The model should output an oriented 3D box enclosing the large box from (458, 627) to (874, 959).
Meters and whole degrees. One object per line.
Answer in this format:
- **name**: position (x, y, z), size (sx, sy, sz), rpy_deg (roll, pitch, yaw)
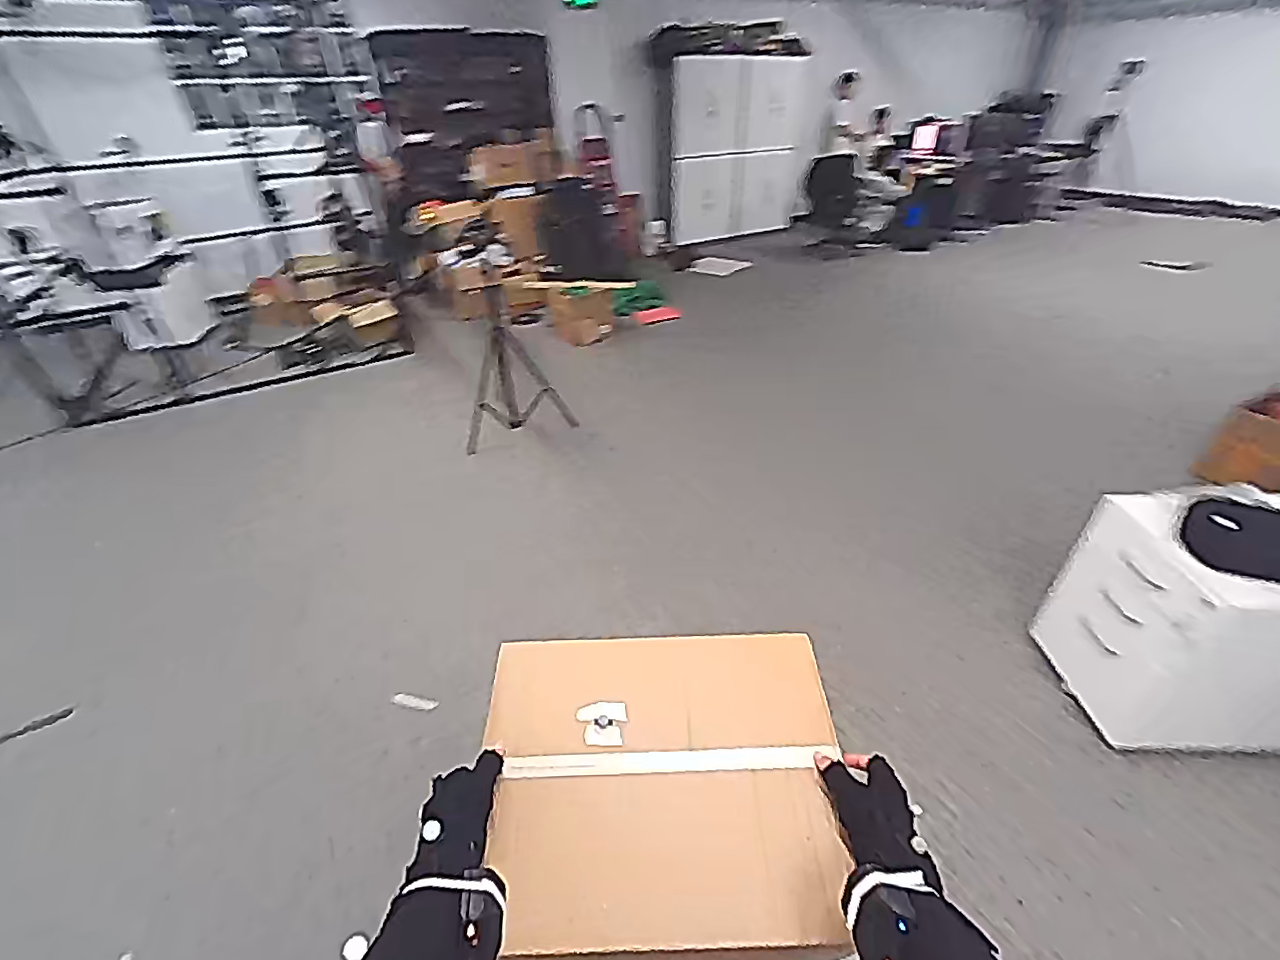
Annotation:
- **large box**: position (0.024, 0.422, 0.717), size (0.408, 0.320, 0.320), rpy_deg (-3, 44, -1)
